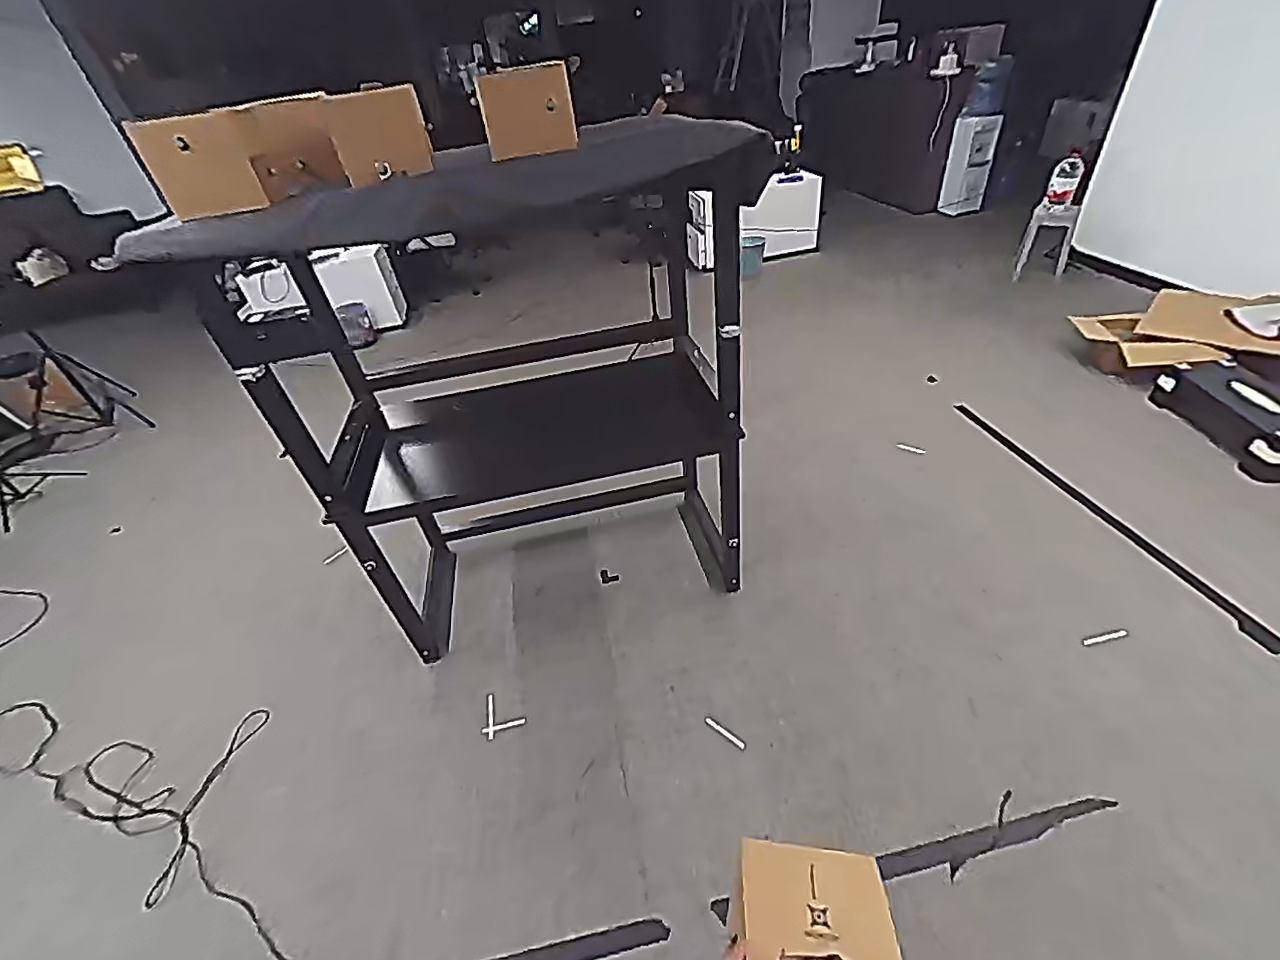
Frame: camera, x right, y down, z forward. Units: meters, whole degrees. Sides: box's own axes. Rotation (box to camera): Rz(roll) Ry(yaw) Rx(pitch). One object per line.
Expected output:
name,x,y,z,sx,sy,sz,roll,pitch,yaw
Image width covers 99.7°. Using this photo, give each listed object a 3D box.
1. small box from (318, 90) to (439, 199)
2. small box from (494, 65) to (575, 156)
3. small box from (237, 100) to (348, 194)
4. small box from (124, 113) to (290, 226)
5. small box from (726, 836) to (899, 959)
small box,-0.528,-0.693,1.119,0.168,0.176,0.179,-16,38,-8
small box,-0.267,-0.941,1.380,0.168,0.176,0.179,-13,39,-6
small box,-0.826,-0.811,1.318,0.179,0.176,0.168,-13,39,-7
small box,-0.851,-0.623,1.085,0.179,0.176,0.168,-14,38,-9
small box,0.189,0.559,0.619,0.168,0.176,0.179,5,21,5
